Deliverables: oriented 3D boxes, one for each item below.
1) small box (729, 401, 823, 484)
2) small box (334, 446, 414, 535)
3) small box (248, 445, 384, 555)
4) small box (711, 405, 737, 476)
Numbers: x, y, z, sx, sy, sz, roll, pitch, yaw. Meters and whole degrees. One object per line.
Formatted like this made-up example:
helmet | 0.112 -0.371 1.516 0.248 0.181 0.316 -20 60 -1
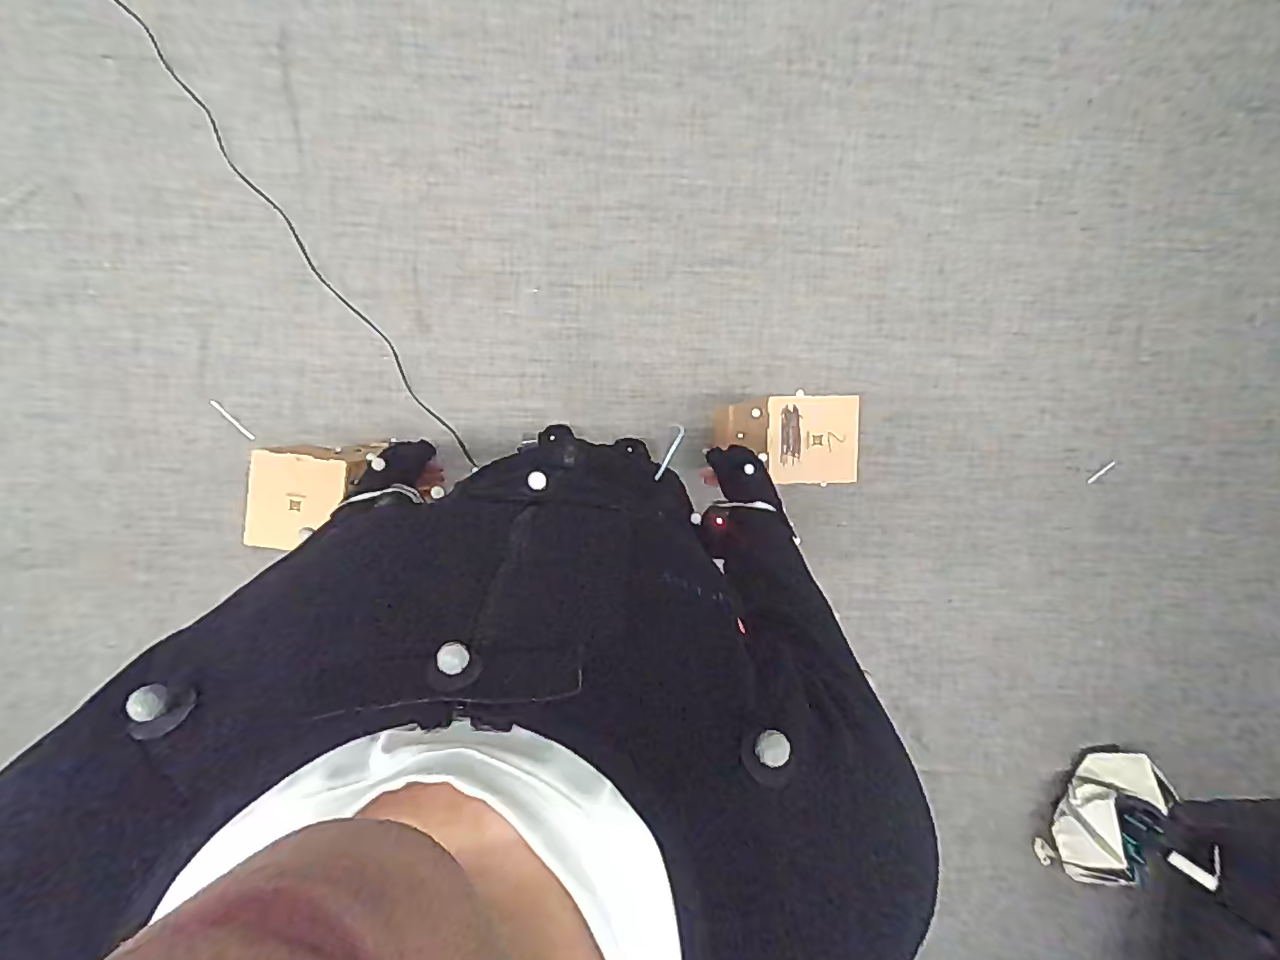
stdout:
small box | 0.308 -0.088 1.260 0.168 0.176 0.179 2 96 -4
small box | -0.618 0.017 1.211 0.168 0.176 0.179 3 97 -4
small box | -0.617 0.032 1.049 0.168 0.176 0.179 8 95 -4
small box | 0.287 -0.103 1.422 0.168 0.176 0.179 2 95 -4
